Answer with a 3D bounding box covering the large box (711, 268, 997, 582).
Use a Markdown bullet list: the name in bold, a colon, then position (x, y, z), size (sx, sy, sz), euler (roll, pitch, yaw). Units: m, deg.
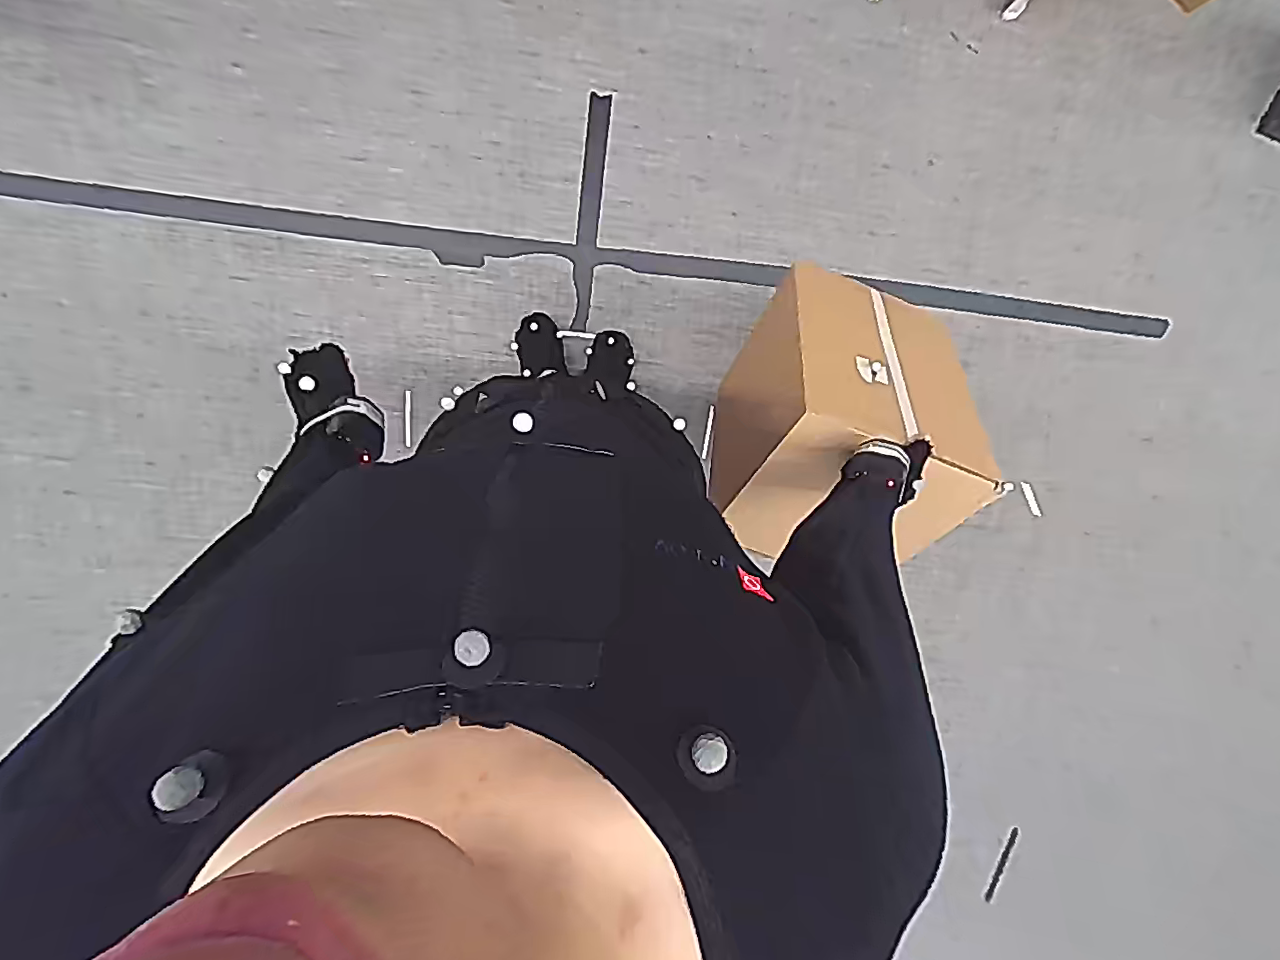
- **large box**: position (0.335, -0.094, 0.966), size (0.320, 0.408, 0.320), euler (19, 140, -9)
